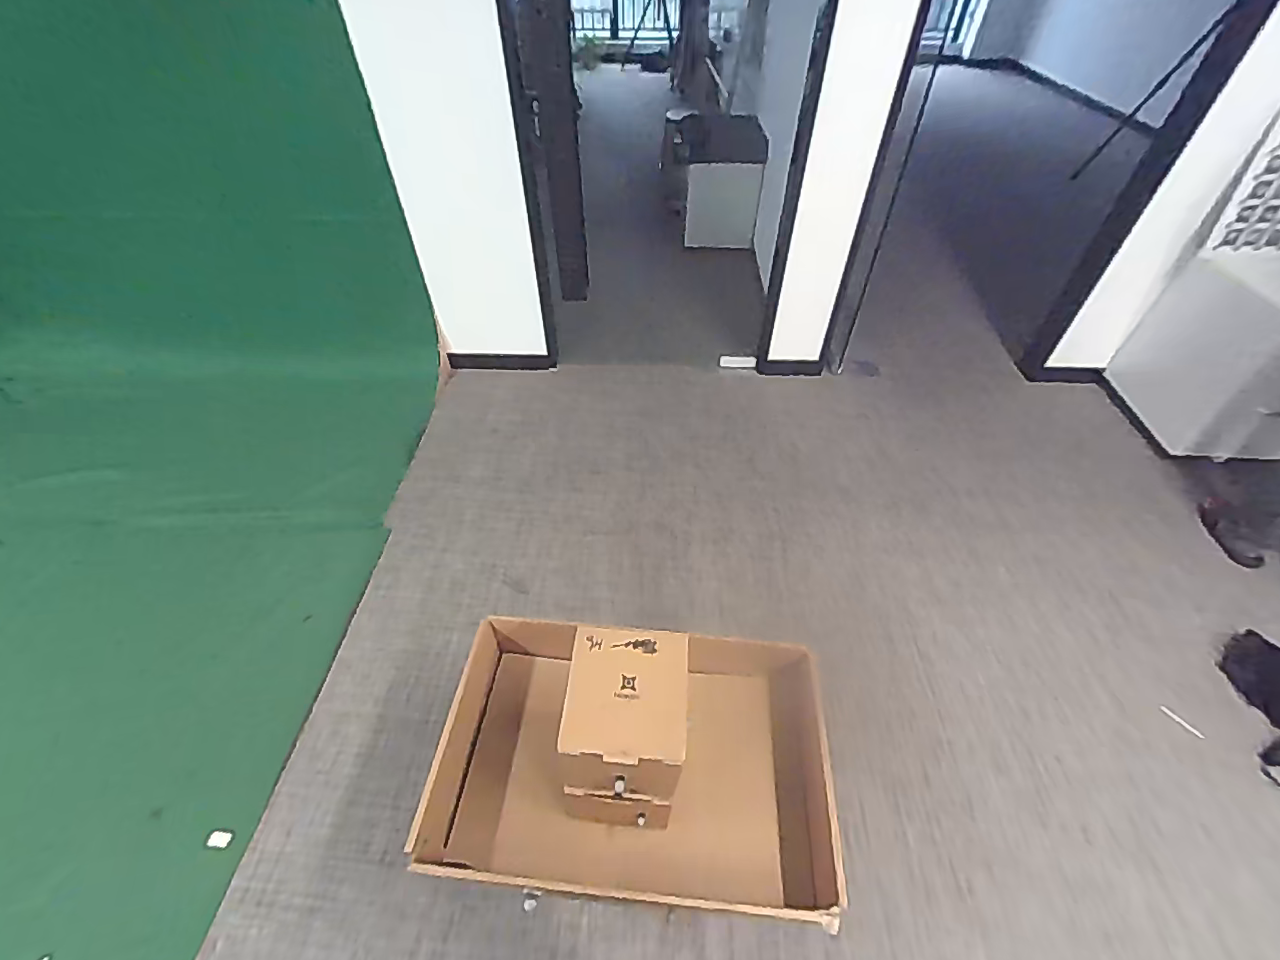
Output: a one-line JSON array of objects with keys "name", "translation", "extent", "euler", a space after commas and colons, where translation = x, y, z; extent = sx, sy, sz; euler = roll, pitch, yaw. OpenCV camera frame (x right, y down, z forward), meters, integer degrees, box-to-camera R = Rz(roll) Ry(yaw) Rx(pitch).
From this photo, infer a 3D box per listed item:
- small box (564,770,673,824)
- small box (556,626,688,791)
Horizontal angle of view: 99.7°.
[{"name": "small box", "translation": [-0.026, 0.458, 0.910], "extent": [0.168, 0.176, 0.179], "euler": [5, 45, 2]}, {"name": "small box", "translation": [-0.020, 0.340, 0.797], "extent": [0.168, 0.176, 0.179], "euler": [5, 48, 2]}]
